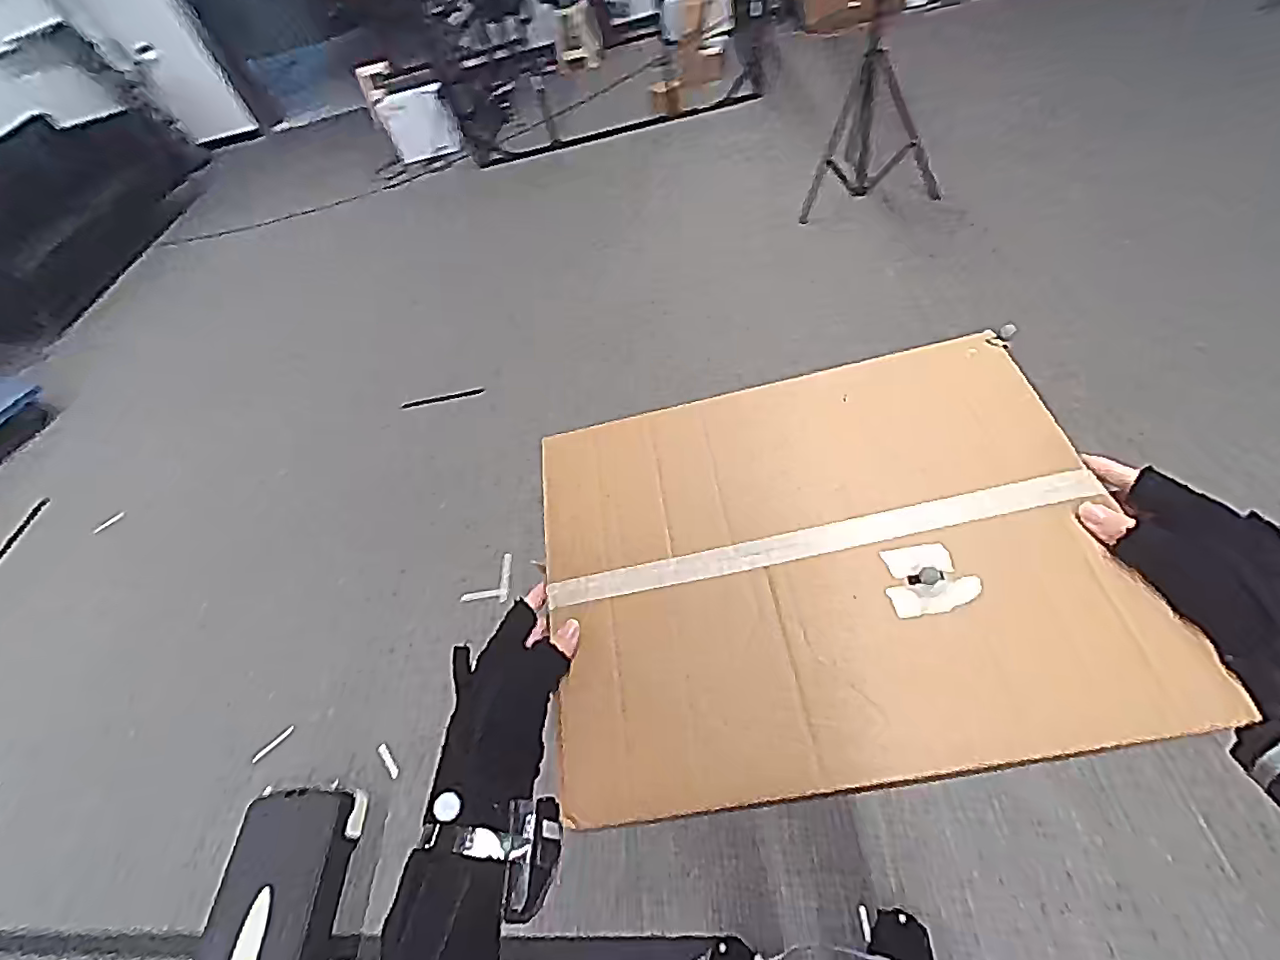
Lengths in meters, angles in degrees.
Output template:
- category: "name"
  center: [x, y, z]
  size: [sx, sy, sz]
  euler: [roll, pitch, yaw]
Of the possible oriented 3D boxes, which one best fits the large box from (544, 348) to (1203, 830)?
- category: "large box"
  center: [0.151, 0.130, 0.541]
  size: [0.408, 0.320, 0.320]
  euler: [-13, 58, 5]
